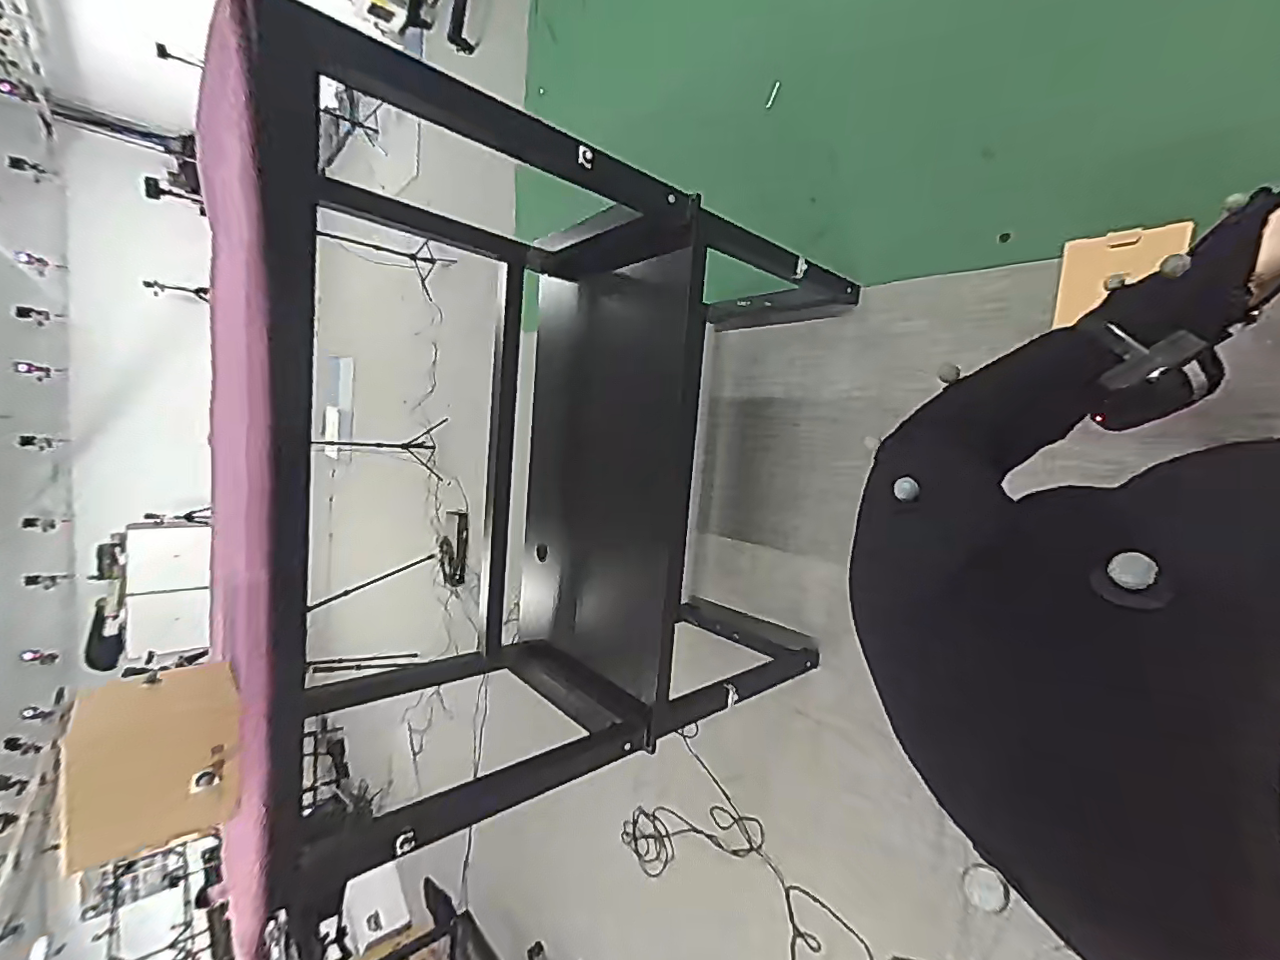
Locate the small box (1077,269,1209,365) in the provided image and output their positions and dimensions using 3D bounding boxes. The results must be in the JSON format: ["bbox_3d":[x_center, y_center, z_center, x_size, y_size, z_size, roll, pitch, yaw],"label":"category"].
[{"bbox_3d":[0.998,-0.325,1.072,0.168,0.176,0.179,8,96,49],"label":"small box"}]

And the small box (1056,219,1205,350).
[{"bbox_3d":[0.876,-0.333,0.965,0.168,0.176,0.179,10,96,49],"label":"small box"}]

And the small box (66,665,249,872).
[{"bbox_3d":[-0.644,0.366,0.731,0.179,0.176,0.168,4,94,47],"label":"small box"}]
